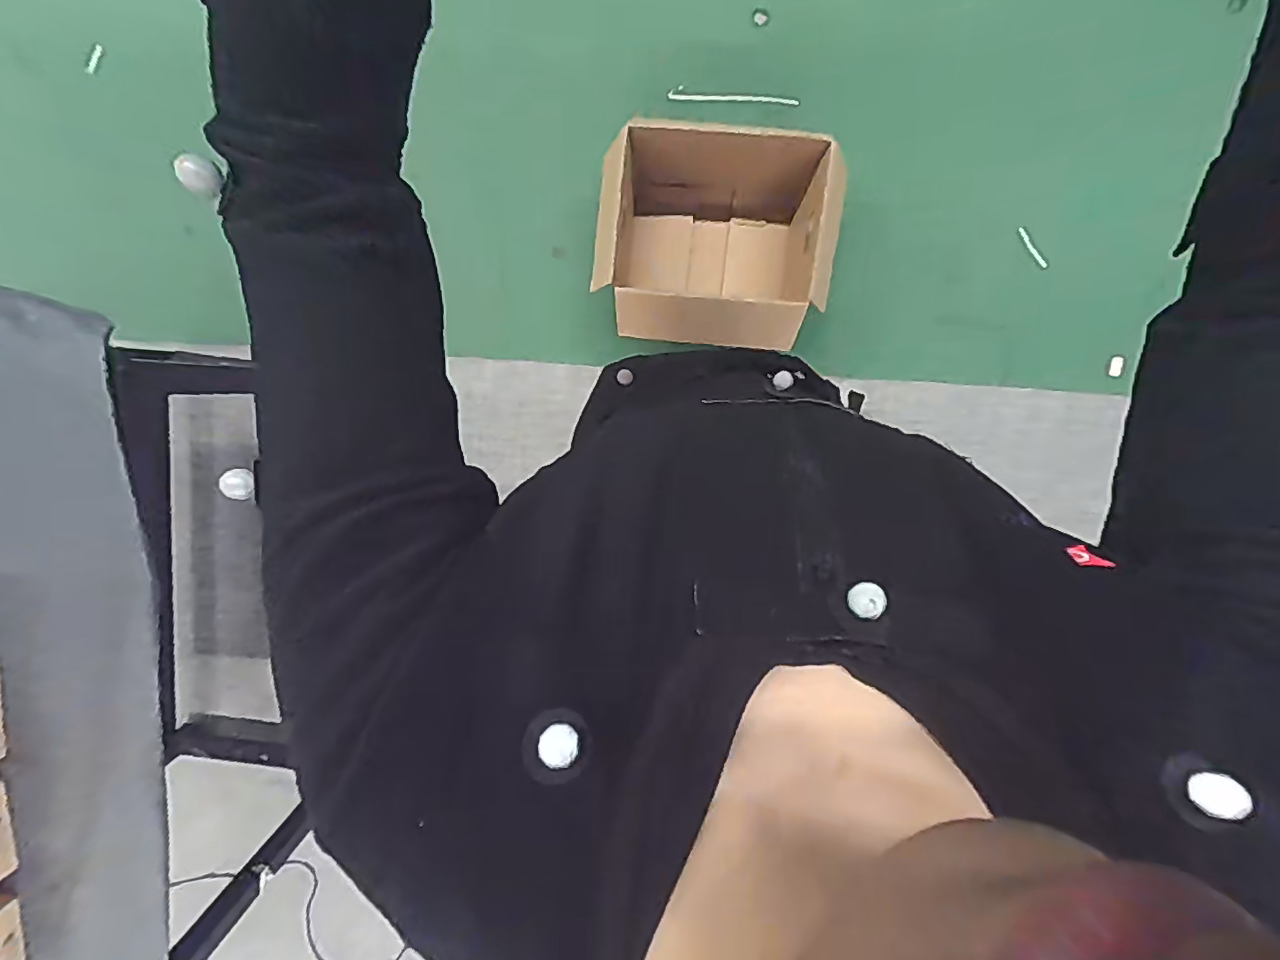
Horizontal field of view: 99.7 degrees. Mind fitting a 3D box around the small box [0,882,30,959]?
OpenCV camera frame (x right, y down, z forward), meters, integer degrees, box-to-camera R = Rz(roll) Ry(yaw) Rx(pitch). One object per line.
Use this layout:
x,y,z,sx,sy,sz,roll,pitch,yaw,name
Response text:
-1.130,0.759,0.841,0.179,0.176,0.168,5,100,2,small box
